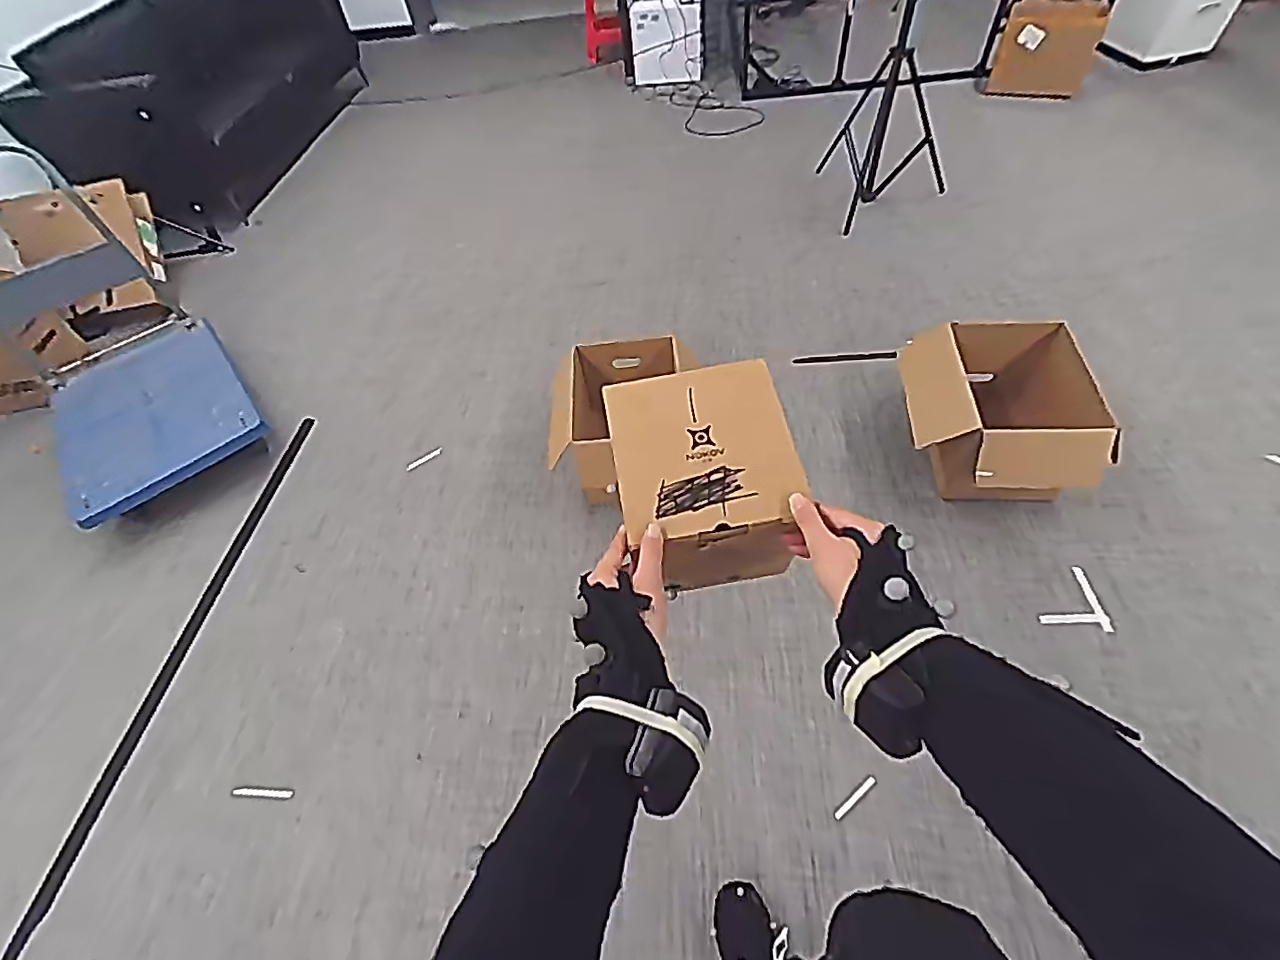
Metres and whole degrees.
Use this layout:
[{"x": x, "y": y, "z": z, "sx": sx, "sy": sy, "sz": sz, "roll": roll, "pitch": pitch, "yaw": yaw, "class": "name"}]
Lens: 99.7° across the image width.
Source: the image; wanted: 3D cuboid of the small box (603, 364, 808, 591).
[{"x": 0.061, "y": 0.008, "z": 0.576, "sx": 0.168, "sy": 0.176, "sz": 0.179, "roll": -10, "pitch": 61, "yaw": -1, "class": "small box"}]
